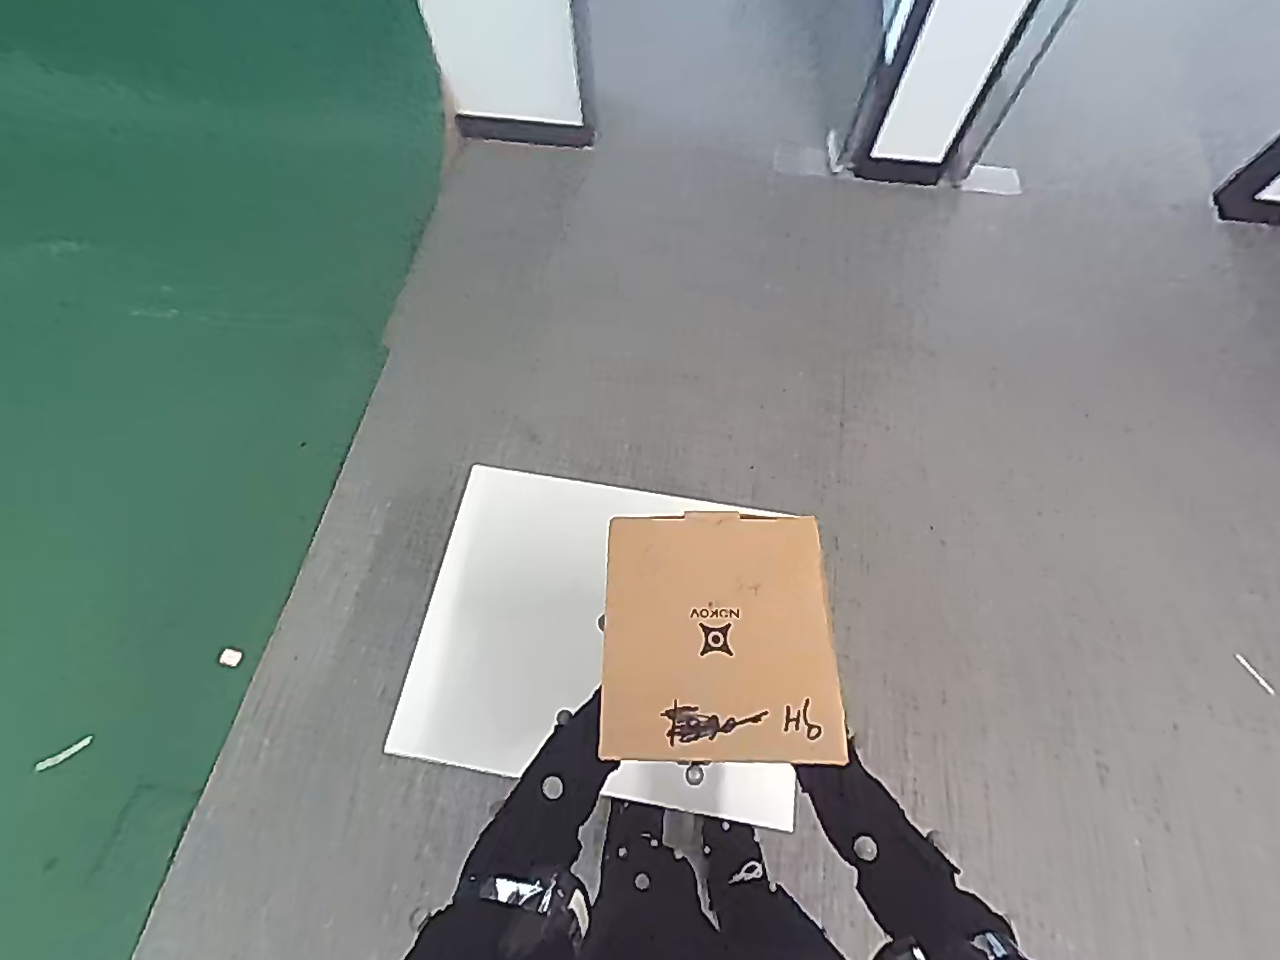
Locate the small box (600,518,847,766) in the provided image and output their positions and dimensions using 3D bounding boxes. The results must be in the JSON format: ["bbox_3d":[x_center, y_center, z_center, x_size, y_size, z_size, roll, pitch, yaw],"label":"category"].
[{"bbox_3d":[0.059,0.144,0.464,0.168,0.176,0.179,-1,64,3],"label":"small box"}]
